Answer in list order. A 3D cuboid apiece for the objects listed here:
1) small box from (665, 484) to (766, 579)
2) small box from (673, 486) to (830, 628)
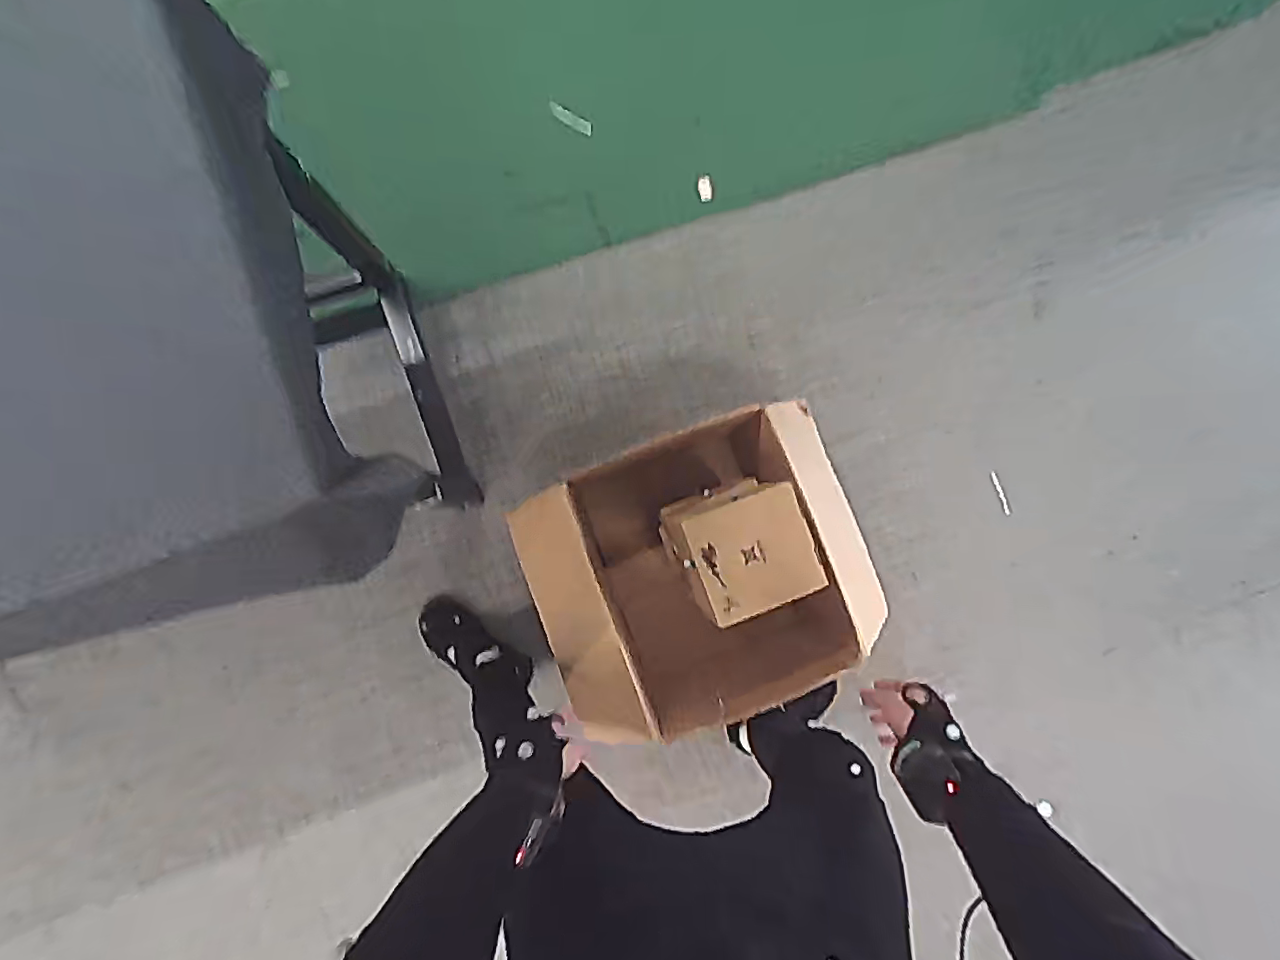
[{"bbox_3d":[0.163,0.114,1.014,0.179,0.176,0.168,-25,90,-3],"label":"small box"},{"bbox_3d":[0.167,0.115,0.866,0.179,0.176,0.168,-20,87,-5],"label":"small box"}]
